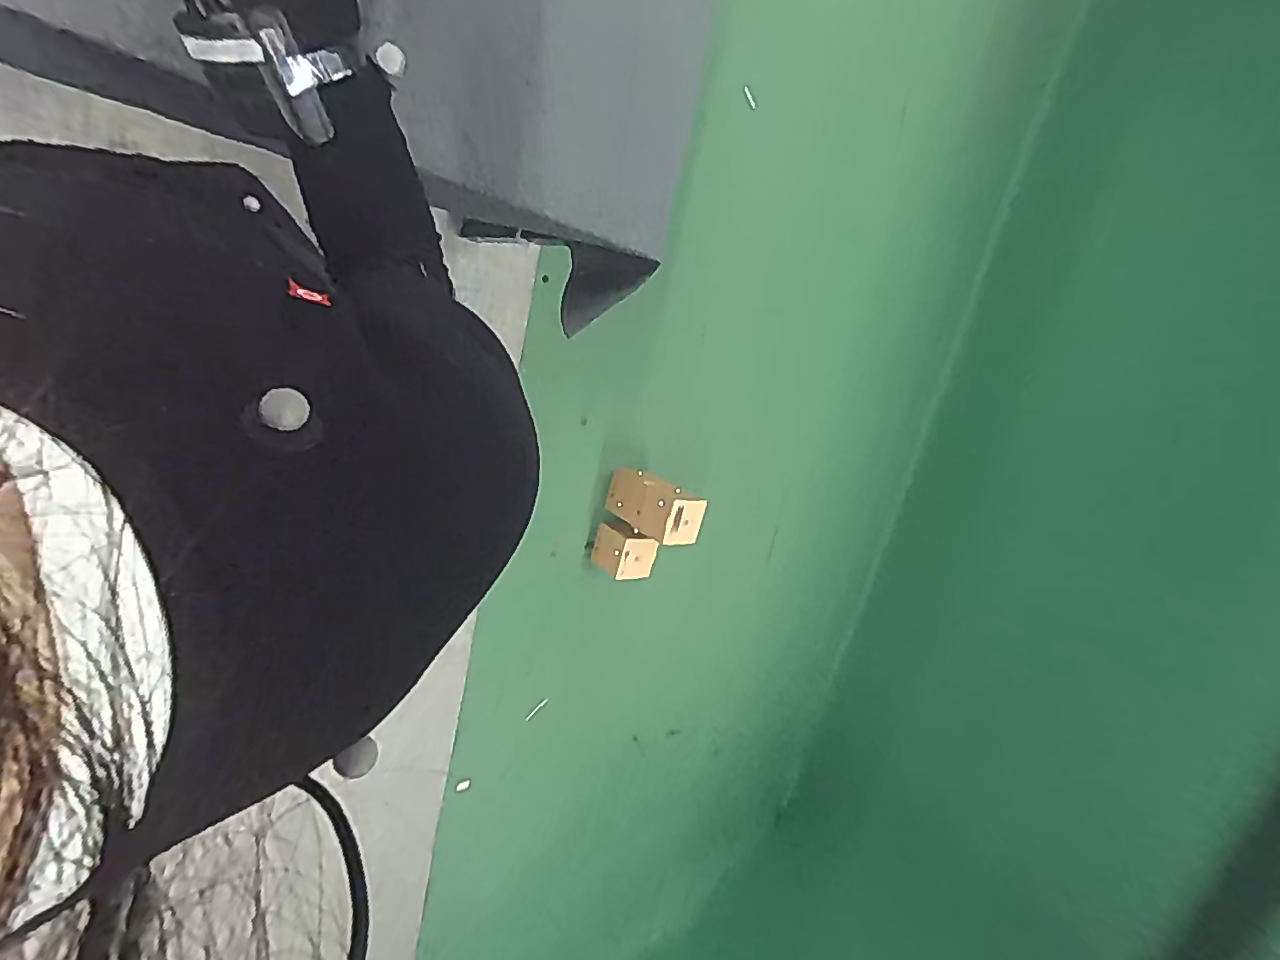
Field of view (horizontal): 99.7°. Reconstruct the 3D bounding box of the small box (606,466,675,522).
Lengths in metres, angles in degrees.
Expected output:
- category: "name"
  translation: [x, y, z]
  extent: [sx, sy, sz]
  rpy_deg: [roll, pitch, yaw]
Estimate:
- category: "small box"
  translation: [-0.003, 0.051, 2.041]
  extent: [0.179, 0.176, 0.168]
  rpy_deg: [7, 105, -44]
